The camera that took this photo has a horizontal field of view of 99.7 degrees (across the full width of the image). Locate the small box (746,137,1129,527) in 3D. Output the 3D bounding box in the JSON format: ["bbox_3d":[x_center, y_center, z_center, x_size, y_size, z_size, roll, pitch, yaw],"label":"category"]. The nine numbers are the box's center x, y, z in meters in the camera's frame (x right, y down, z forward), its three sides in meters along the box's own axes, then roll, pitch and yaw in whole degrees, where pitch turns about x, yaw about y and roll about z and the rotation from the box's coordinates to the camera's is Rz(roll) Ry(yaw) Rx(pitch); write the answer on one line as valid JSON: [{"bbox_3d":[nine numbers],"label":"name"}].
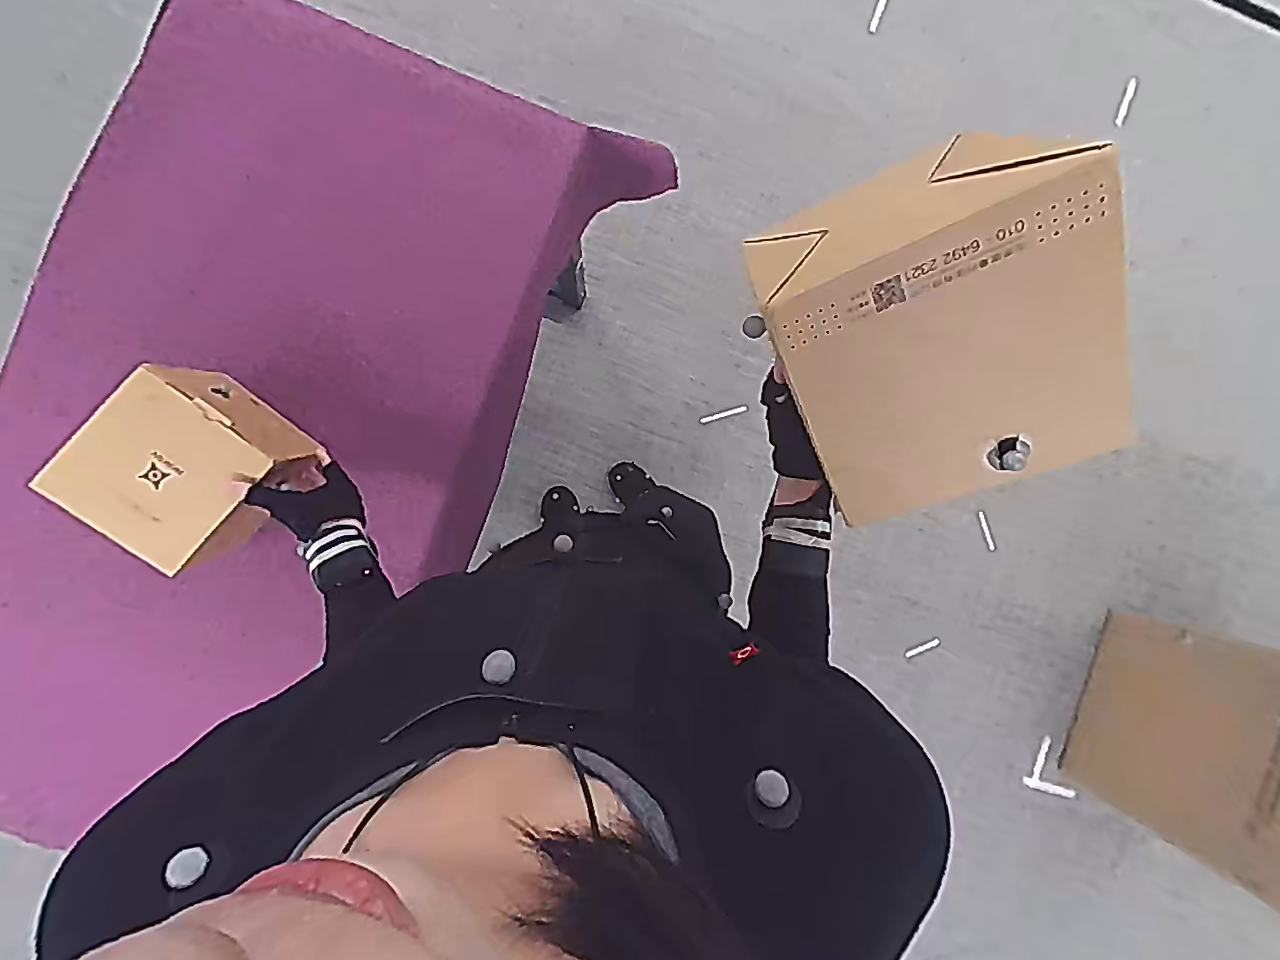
[{"bbox_3d":[0.180,-0.104,0.363,0.168,0.179,0.176,-21,119,19],"label":"small box"}]

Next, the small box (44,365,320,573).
[{"bbox_3d":[-0.540,-0.019,0.676,0.168,0.176,0.179,41,89,-10],"label":"small box"}]
